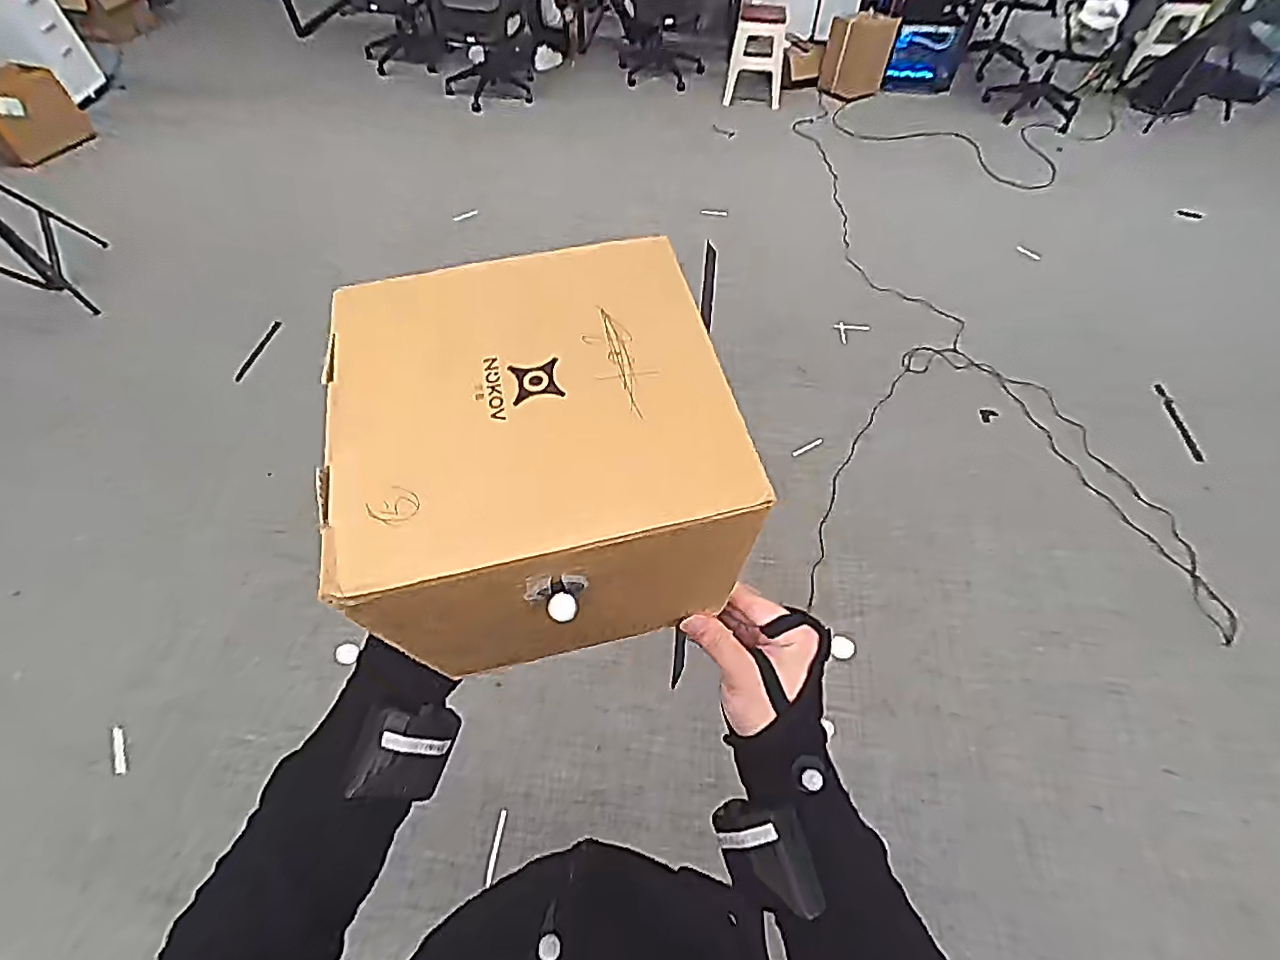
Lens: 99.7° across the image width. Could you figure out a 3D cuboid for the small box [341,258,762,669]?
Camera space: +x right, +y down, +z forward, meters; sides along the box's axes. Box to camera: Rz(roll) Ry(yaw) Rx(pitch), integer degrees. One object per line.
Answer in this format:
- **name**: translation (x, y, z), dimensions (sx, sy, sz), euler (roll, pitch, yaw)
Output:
- **small box**: translation (-0.049, 0.001, 0.324), dimensions (0.179, 0.176, 0.168), euler (-12, 62, -8)
